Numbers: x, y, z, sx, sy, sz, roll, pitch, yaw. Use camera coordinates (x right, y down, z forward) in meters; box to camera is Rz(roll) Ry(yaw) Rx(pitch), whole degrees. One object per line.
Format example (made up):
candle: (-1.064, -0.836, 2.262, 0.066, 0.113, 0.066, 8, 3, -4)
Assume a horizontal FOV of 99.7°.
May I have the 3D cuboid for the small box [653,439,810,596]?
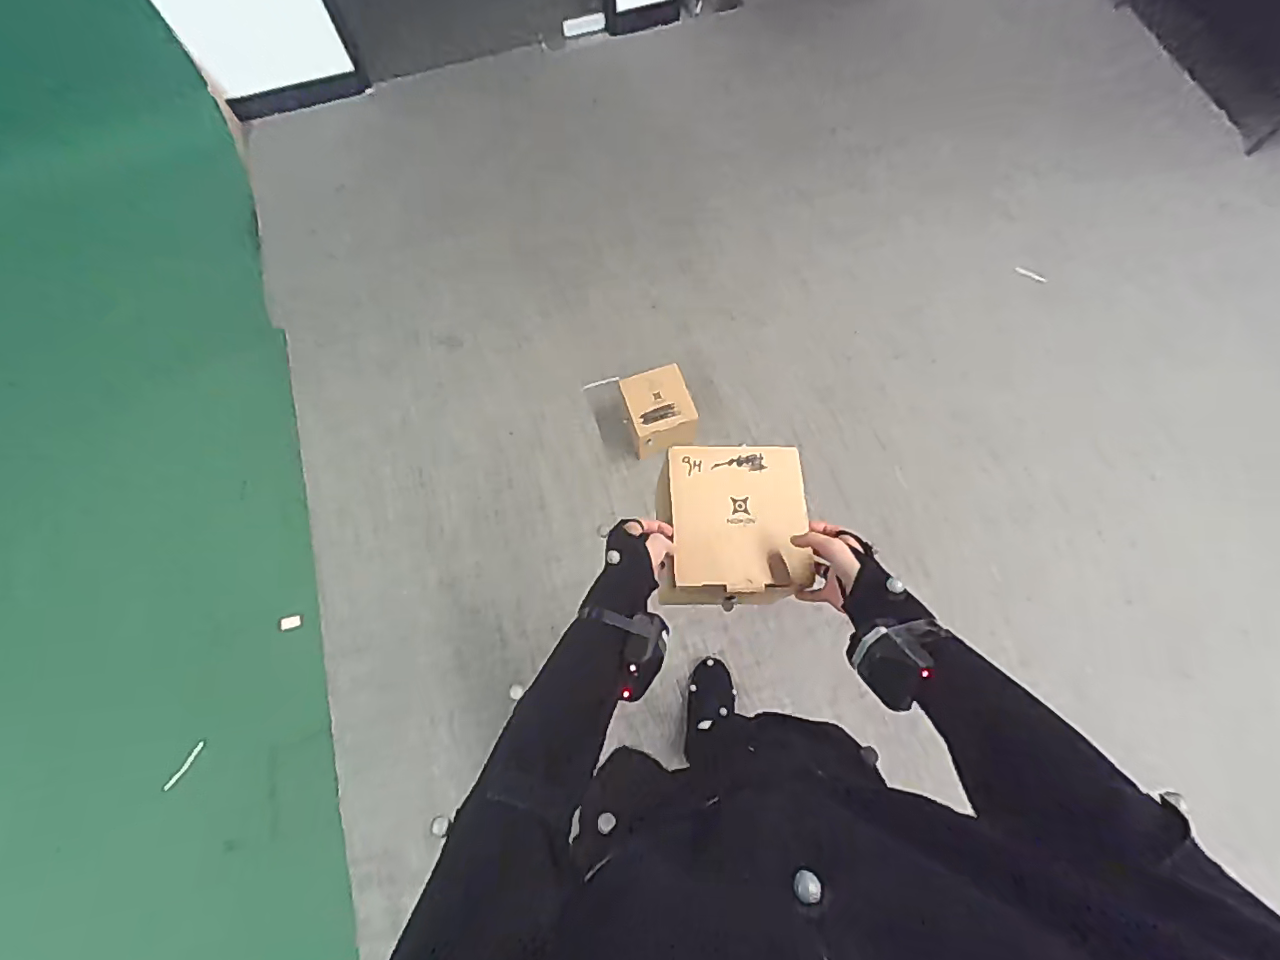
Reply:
small box: (0.108, 0.059, 0.713, 0.168, 0.176, 0.179, 1, 71, -5)
